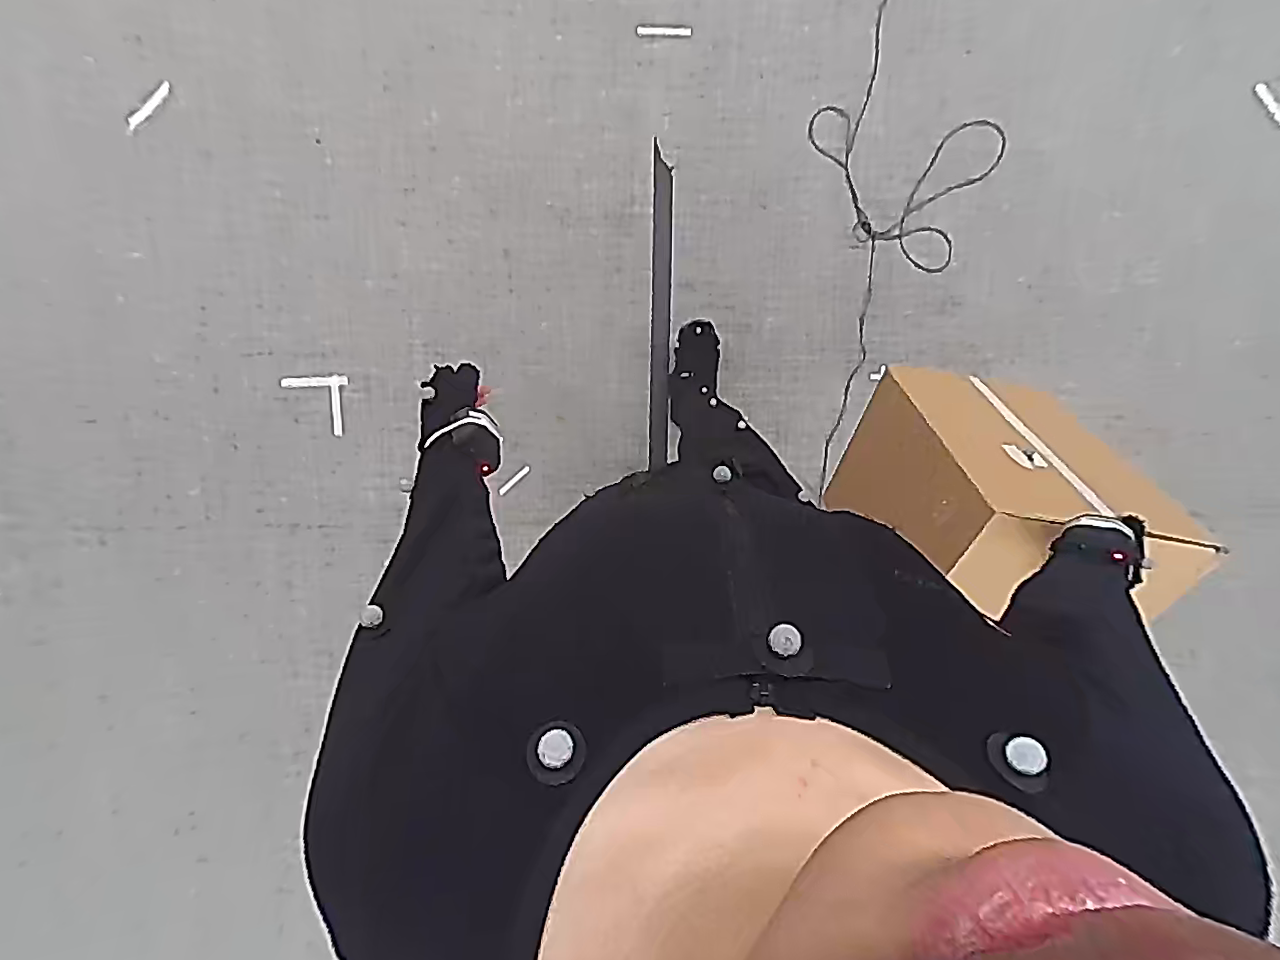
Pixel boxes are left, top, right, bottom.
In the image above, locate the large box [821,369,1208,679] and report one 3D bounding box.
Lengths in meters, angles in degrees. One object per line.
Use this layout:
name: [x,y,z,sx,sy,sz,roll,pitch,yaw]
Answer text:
large box: [0.554,0.062,0.920,0.320,0.408,0.320,9,128,-5]
